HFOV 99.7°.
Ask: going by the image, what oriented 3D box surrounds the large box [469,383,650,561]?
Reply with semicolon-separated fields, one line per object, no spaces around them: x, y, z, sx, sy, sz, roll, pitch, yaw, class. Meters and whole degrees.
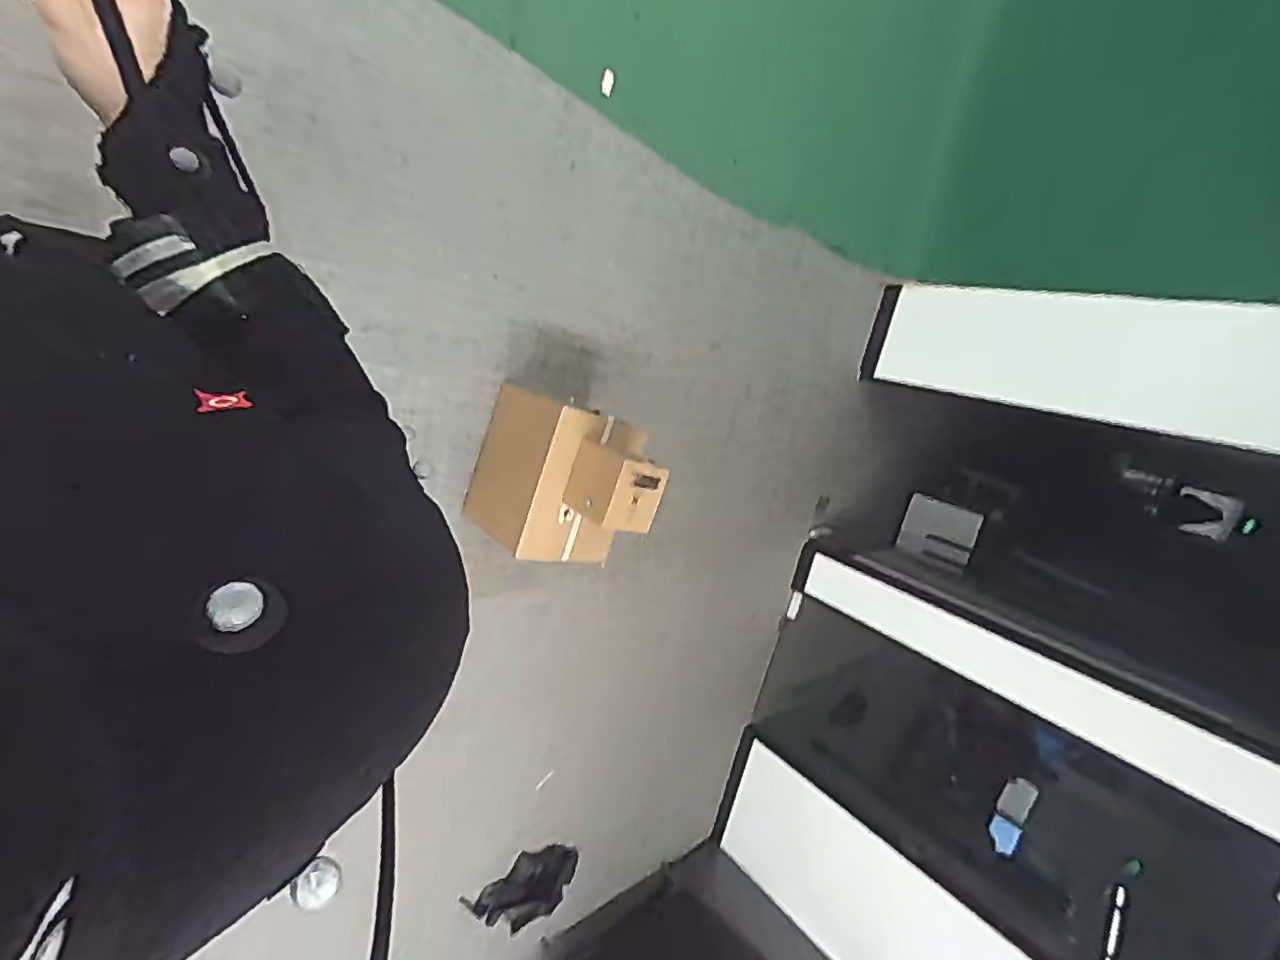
-0.234;-0.021;1.524;0.320;0.320;0.408;11;101;-44;large box
